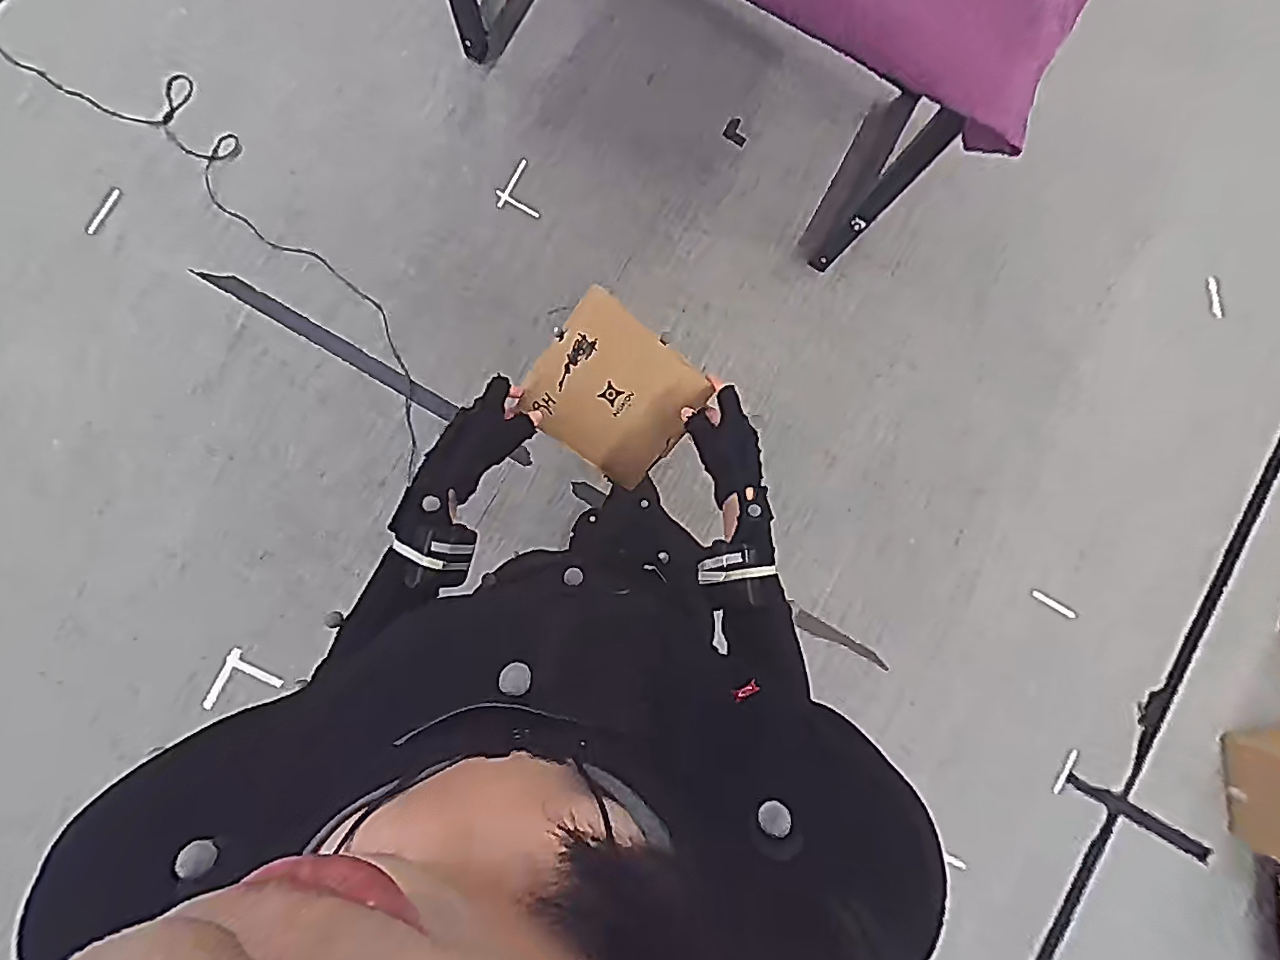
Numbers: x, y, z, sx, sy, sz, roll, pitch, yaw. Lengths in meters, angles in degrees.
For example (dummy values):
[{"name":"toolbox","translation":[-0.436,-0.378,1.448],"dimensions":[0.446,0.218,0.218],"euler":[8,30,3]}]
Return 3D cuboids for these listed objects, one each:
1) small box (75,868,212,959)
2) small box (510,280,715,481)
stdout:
[{"name":"small box","translation":[-1.207,1.090,1.320],"dimensions":[0.179,0.176,0.168],"euler":[11,88,-4]},{"name":"small box","translation":[-0.038,-0.134,0.681],"dimensions":[0.179,0.176,0.168],"euler":[35,104,-19]}]
